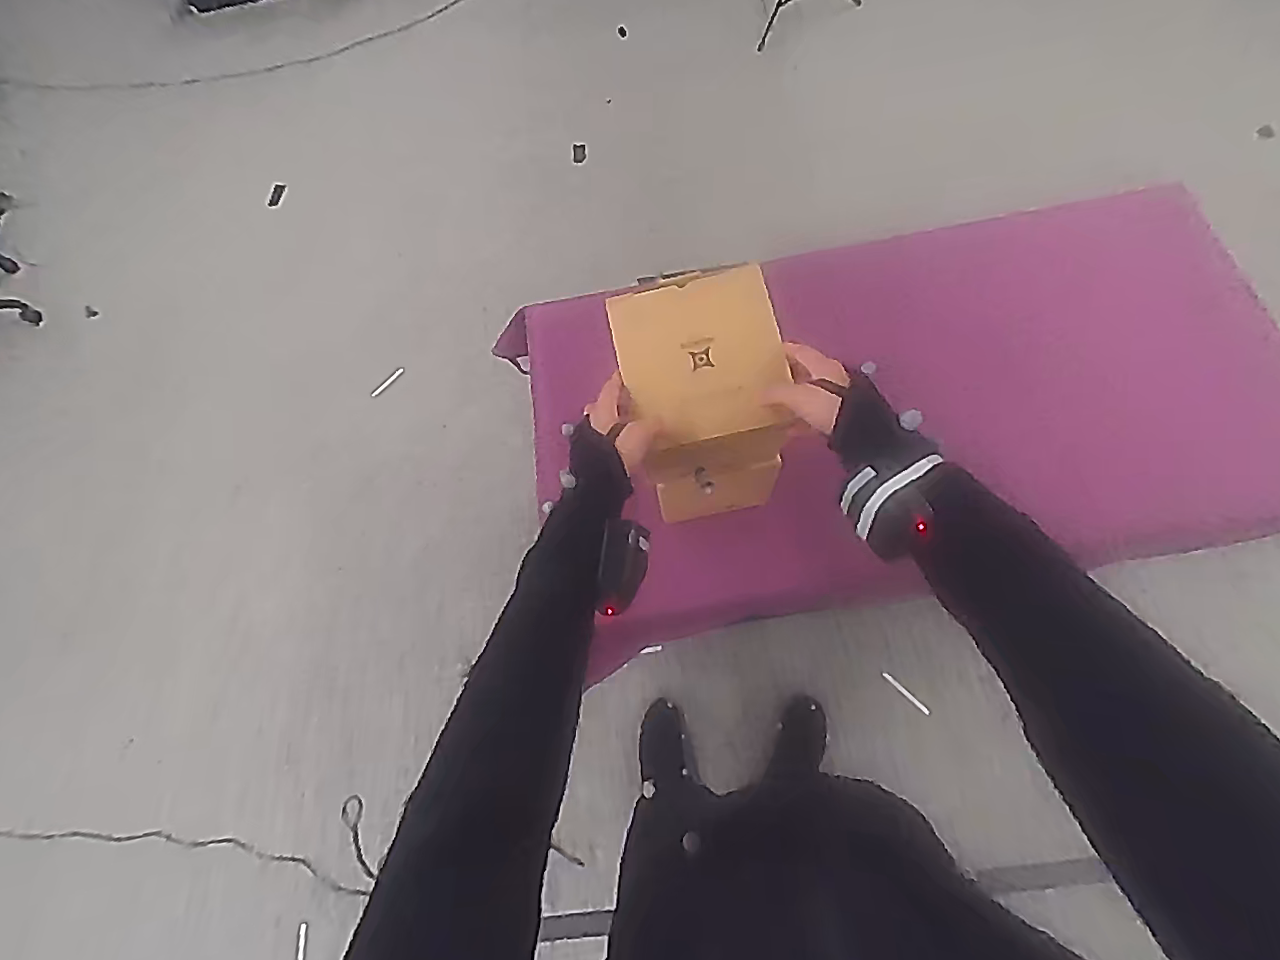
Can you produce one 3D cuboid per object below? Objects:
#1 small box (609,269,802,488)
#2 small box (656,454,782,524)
[{"bbox_3d":[0.067,-0.104,0.620,0.168,0.176,0.179,-13,77,2],"label":"small box"},{"bbox_3d":[0.098,-0.052,0.805,0.168,0.176,0.179,-11,68,2],"label":"small box"}]
